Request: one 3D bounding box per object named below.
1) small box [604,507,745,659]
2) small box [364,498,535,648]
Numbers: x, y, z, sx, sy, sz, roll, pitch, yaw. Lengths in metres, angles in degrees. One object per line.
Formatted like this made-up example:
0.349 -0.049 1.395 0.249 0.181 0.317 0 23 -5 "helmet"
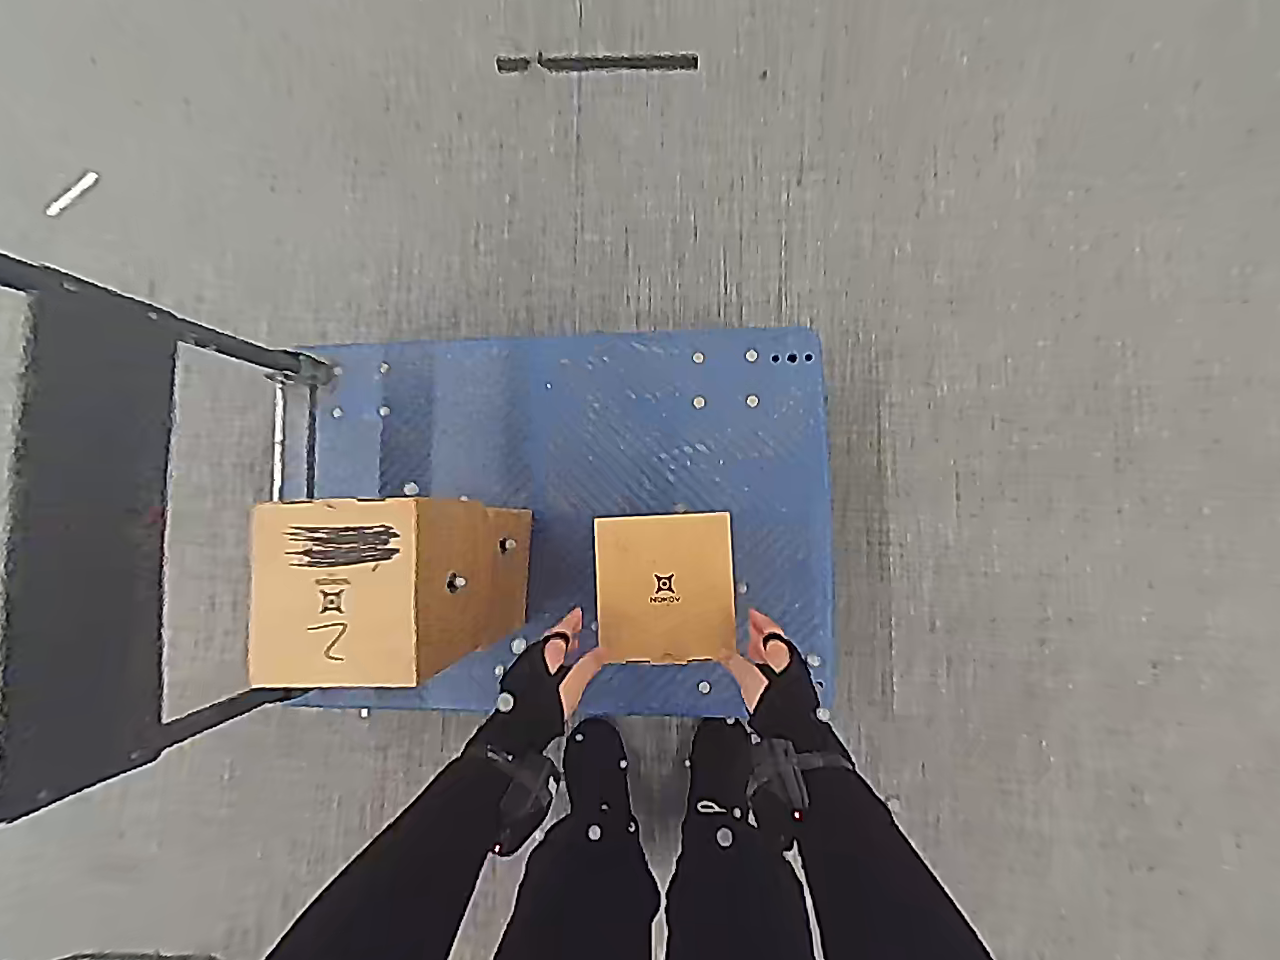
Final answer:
0.045 0.131 0.726 0.168 0.176 0.179 -4 86 5 "small box"
-0.249 0.120 0.749 0.168 0.176 0.179 3 86 6 "small box"
